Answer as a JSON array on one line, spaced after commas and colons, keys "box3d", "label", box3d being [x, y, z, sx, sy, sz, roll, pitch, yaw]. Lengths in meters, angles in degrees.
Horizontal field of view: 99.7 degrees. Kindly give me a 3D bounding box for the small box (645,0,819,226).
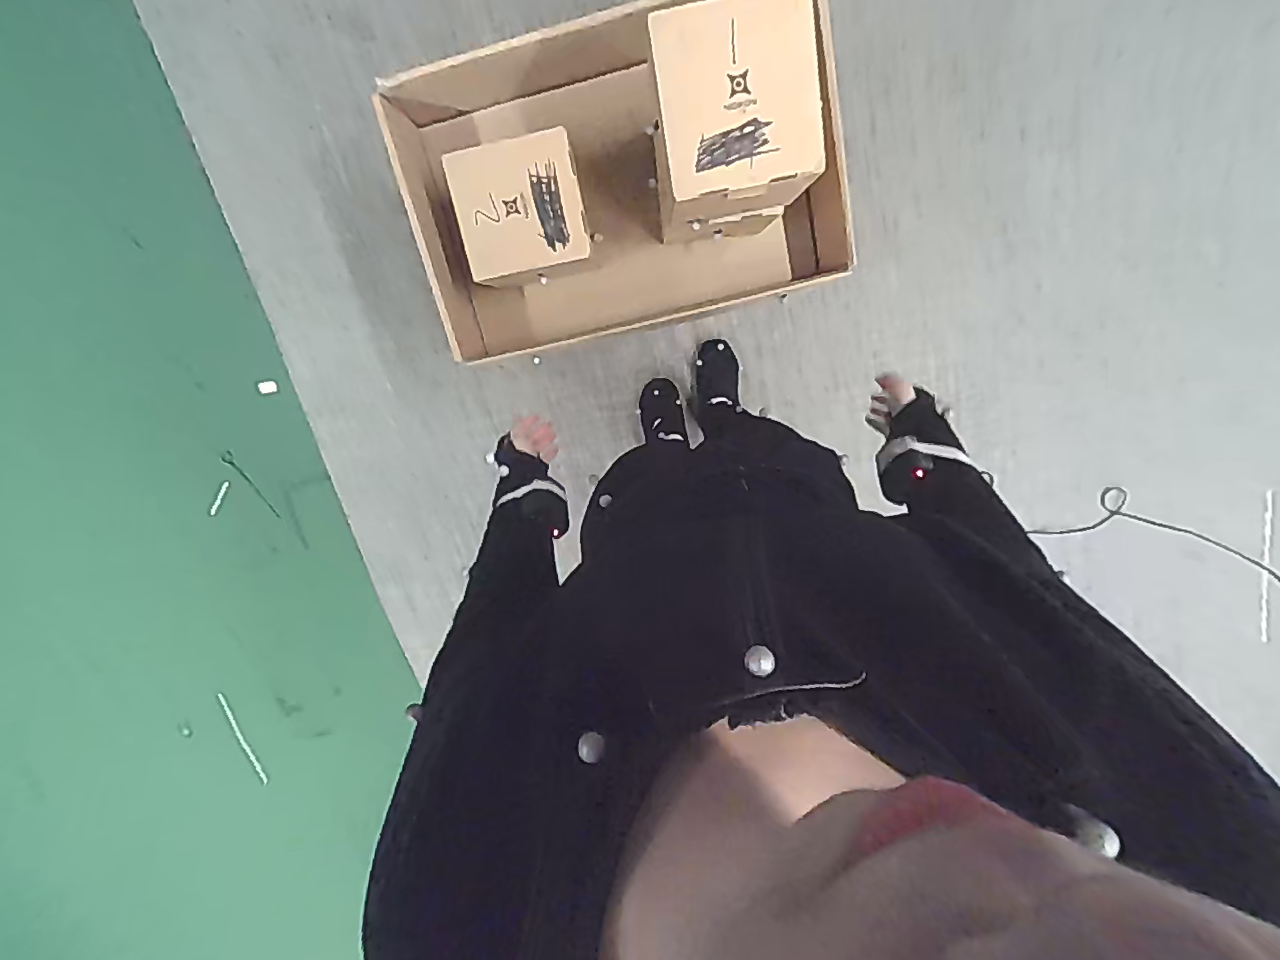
[{"box3d": [0.102, -0.414, 0.640, 0.168, 0.176, 0.179, -10, 104, 4], "label": "small box"}]
